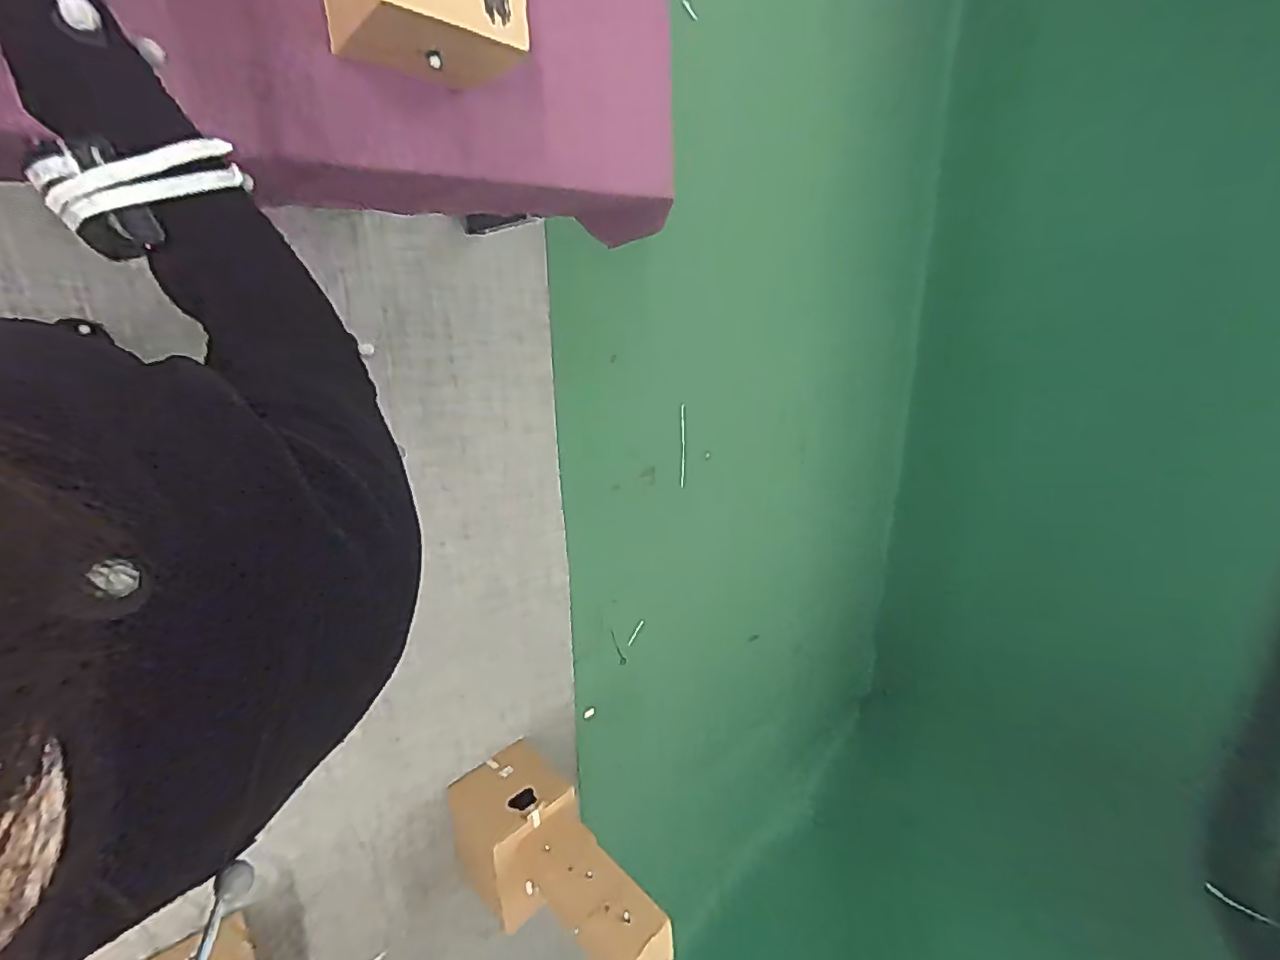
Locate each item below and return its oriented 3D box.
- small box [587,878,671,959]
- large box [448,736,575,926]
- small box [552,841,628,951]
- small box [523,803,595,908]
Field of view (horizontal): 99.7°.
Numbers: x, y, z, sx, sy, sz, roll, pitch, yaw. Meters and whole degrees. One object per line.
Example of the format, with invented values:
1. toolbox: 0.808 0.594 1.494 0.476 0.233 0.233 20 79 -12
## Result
1. small box: -0.032 1.265 1.505 0.168 0.176 0.179 -22 117 -39
2. large box: -0.441 1.213 1.908 0.320 0.320 0.408 -19 115 -41
3. small box: -0.146 1.232 1.619 0.168 0.176 0.179 -24 119 -38
4. small box: -0.261 1.191 1.729 0.179 0.176 0.168 -21 116 -41
